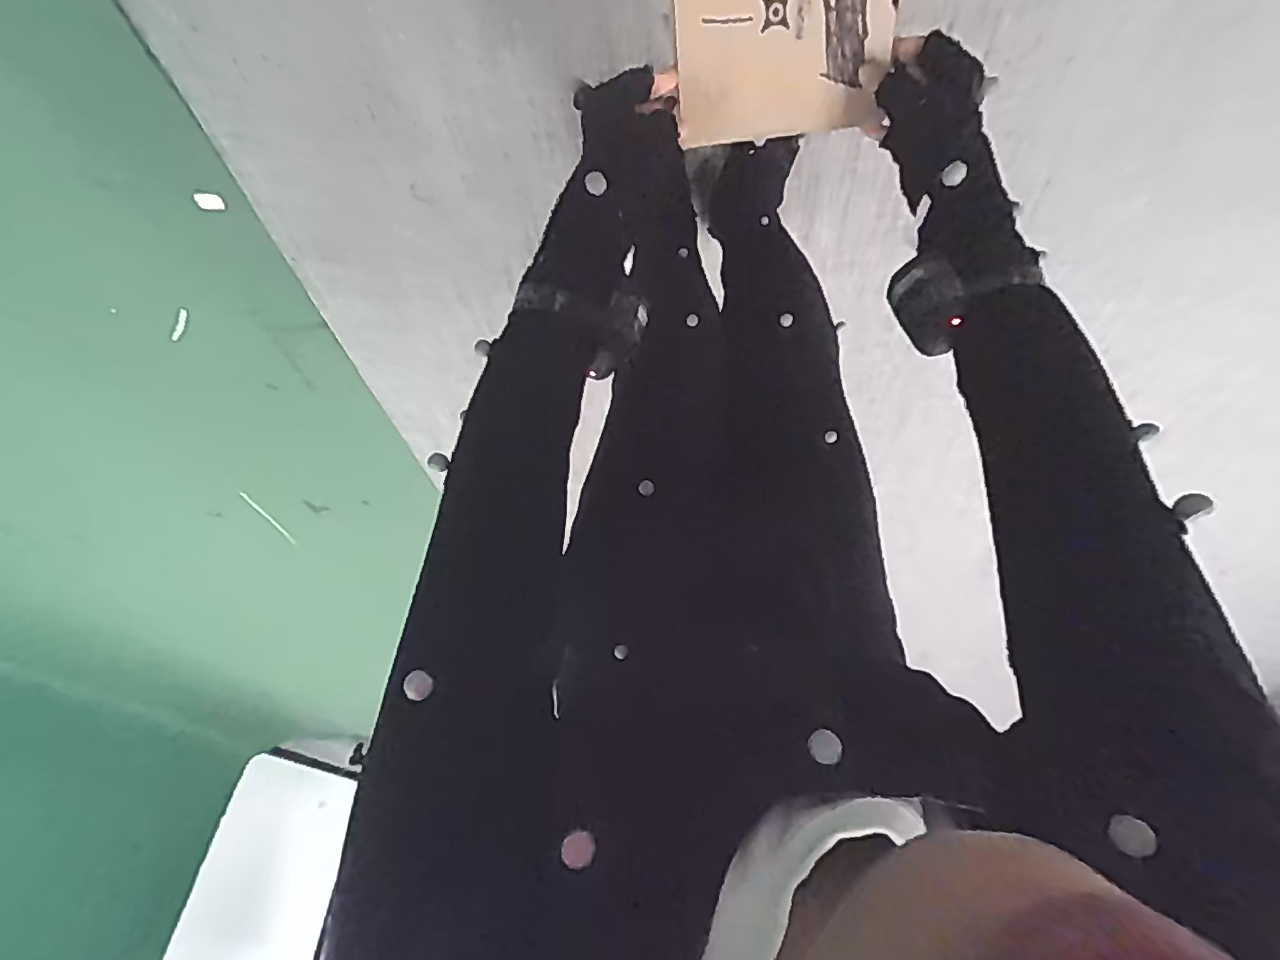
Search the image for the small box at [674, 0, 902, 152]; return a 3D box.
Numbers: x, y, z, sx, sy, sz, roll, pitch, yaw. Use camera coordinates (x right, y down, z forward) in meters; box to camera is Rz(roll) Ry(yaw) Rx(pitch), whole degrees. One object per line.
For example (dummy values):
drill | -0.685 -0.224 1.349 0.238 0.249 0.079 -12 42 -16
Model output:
small box | 0.121 -0.414 0.491 0.179 0.176 0.168 -3 128 6
